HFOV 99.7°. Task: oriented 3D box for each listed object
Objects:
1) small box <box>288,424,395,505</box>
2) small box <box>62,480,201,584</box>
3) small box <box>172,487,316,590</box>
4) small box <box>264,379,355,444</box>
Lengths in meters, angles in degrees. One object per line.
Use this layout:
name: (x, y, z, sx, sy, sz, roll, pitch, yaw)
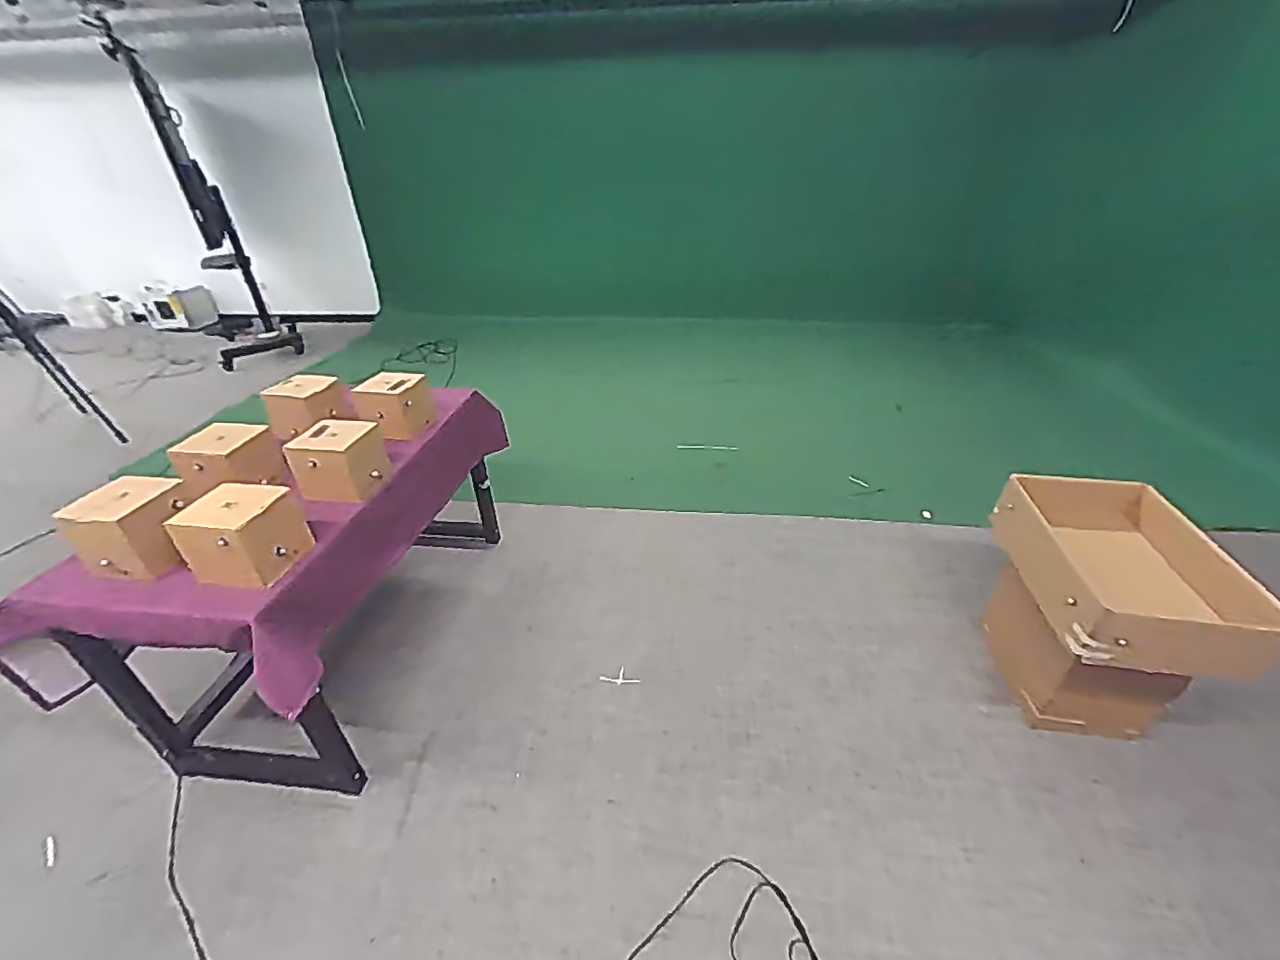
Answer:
small box: (-0.821, -0.043, 1.505, 0.179, 0.176, 0.168, 3, 33, 9)
small box: (-1.158, 0.119, 1.268, 0.168, 0.176, 0.179, 3, 32, 9)
small box: (-0.888, 0.133, 1.231, 0.179, 0.176, 0.168, 3, 32, 8)
small box: (-1.095, -0.223, 1.811, 0.179, 0.176, 0.168, 7, 33, 13)
